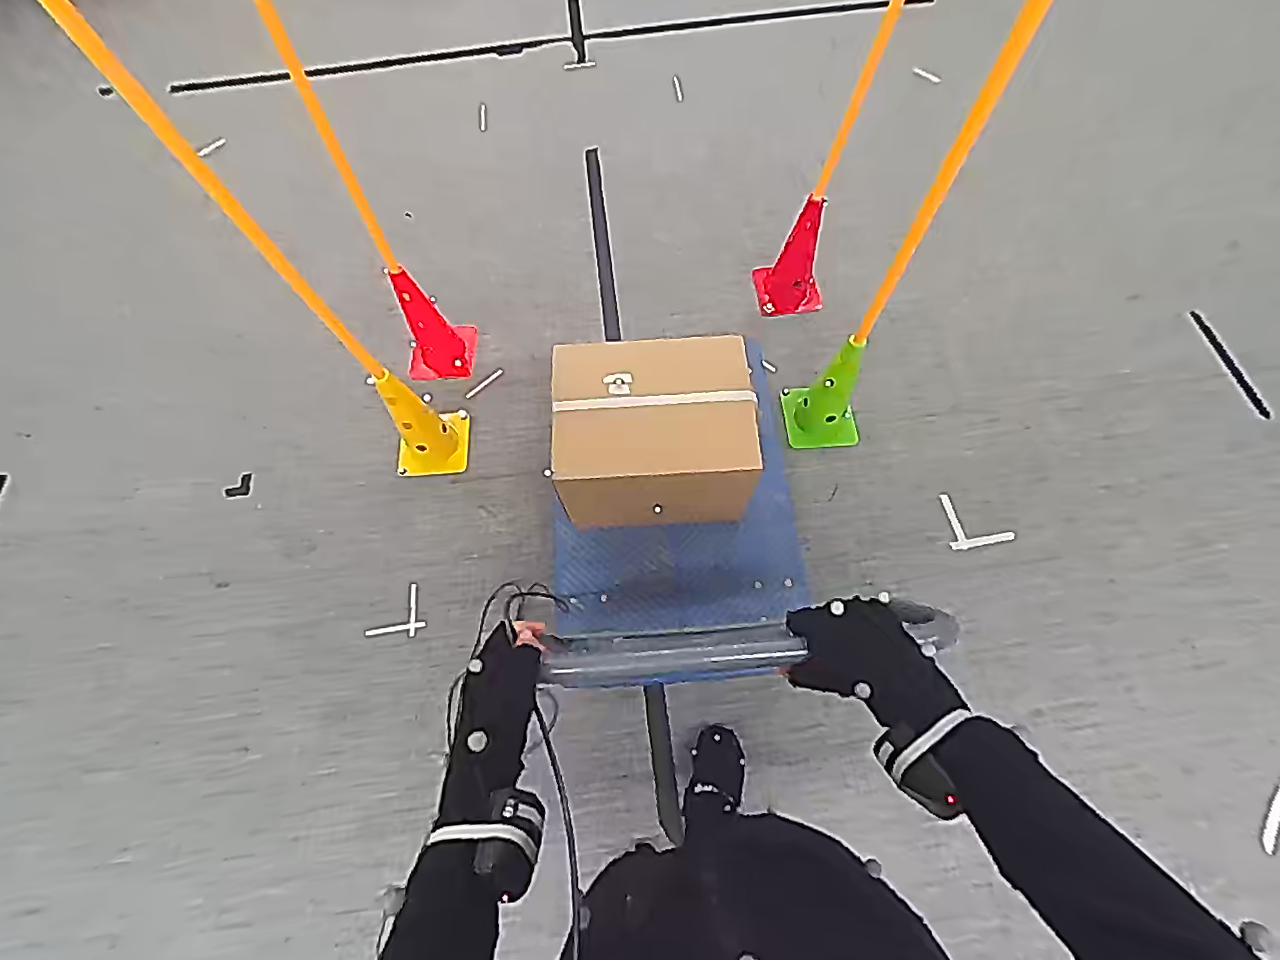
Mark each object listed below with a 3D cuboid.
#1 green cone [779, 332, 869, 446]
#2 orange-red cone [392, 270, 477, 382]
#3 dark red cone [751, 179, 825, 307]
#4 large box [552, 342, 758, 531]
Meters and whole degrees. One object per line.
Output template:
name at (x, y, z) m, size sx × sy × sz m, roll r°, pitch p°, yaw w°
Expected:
green cone at (0.519, -0.261, 1.441) m, size 0.202 × 0.368 × 0.200 m, roll -4°, pitch 67°, yaw -1°
orange-red cone at (-0.633, -0.469, 1.578) m, size 0.198 × 0.360 × 0.199 m, roll -1°, pitch 65°, yaw 1°
dark red cone at (0.475, -0.711, 1.617) m, size 0.201 × 0.394 × 0.202 m, roll -7°, pitch 67°, yaw -3°
large box at (0.028, -0.082, 1.228) m, size 0.408 × 0.320 × 0.320 m, roll -4°, pitch 67°, yaw 1°
